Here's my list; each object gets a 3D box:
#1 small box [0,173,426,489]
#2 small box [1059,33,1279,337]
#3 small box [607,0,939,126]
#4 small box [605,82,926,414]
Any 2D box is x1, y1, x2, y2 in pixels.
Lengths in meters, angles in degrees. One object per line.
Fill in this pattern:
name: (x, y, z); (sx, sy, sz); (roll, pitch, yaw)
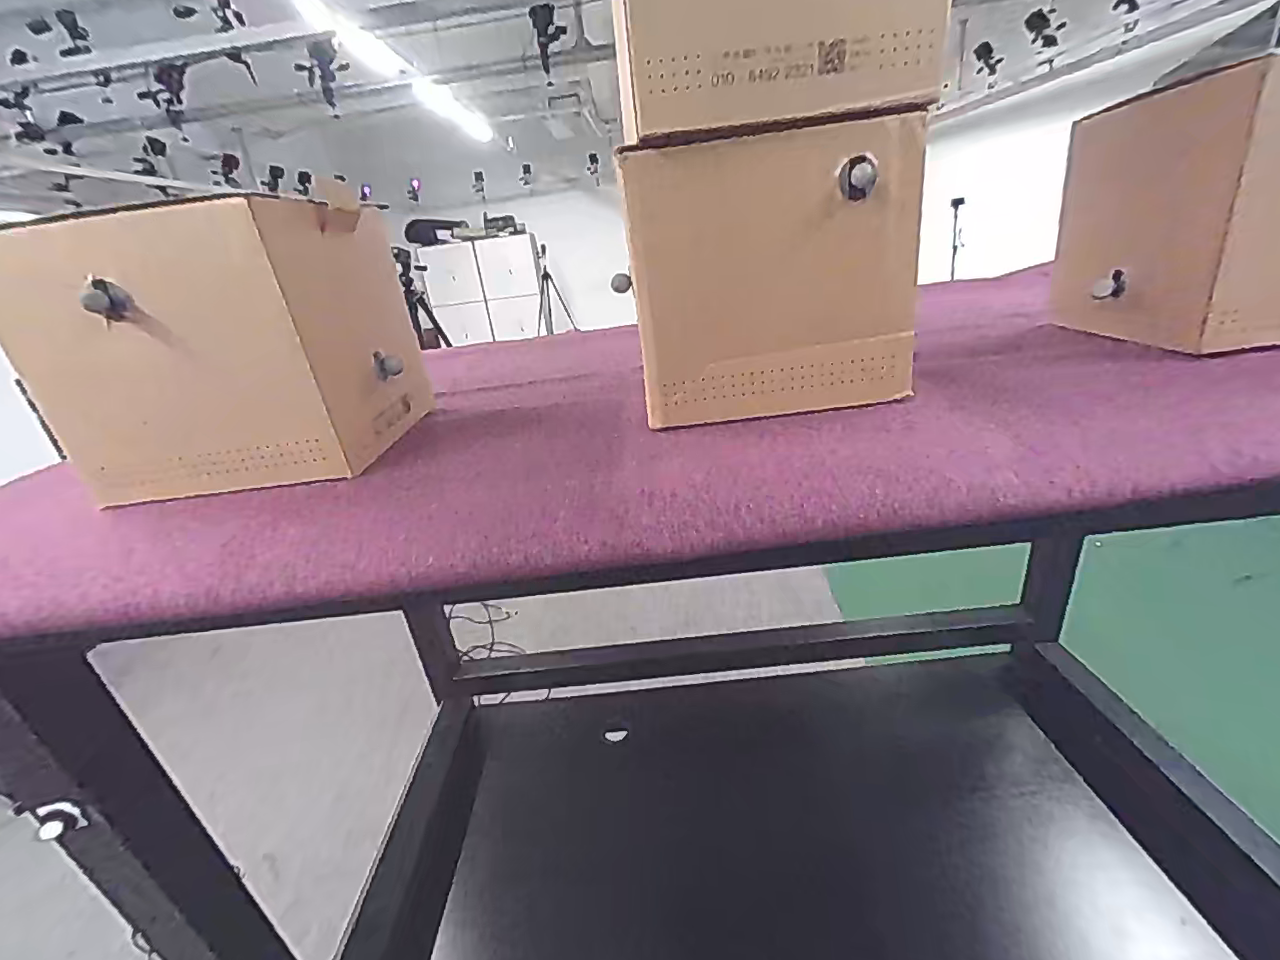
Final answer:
small box: (-0.282, -0.103, 0.383); (0.179, 0.176, 0.168); (-7, 25, 2)
small box: (0.436, -0.200, 0.375); (0.168, 0.176, 0.179); (-6, 22, 9)
small box: (0.064, -0.300, 0.325); (0.168, 0.176, 0.179); (-6, 22, 0)
small box: (0.077, -0.151, 0.389); (0.179, 0.176, 0.168); (-7, 23, 2)
